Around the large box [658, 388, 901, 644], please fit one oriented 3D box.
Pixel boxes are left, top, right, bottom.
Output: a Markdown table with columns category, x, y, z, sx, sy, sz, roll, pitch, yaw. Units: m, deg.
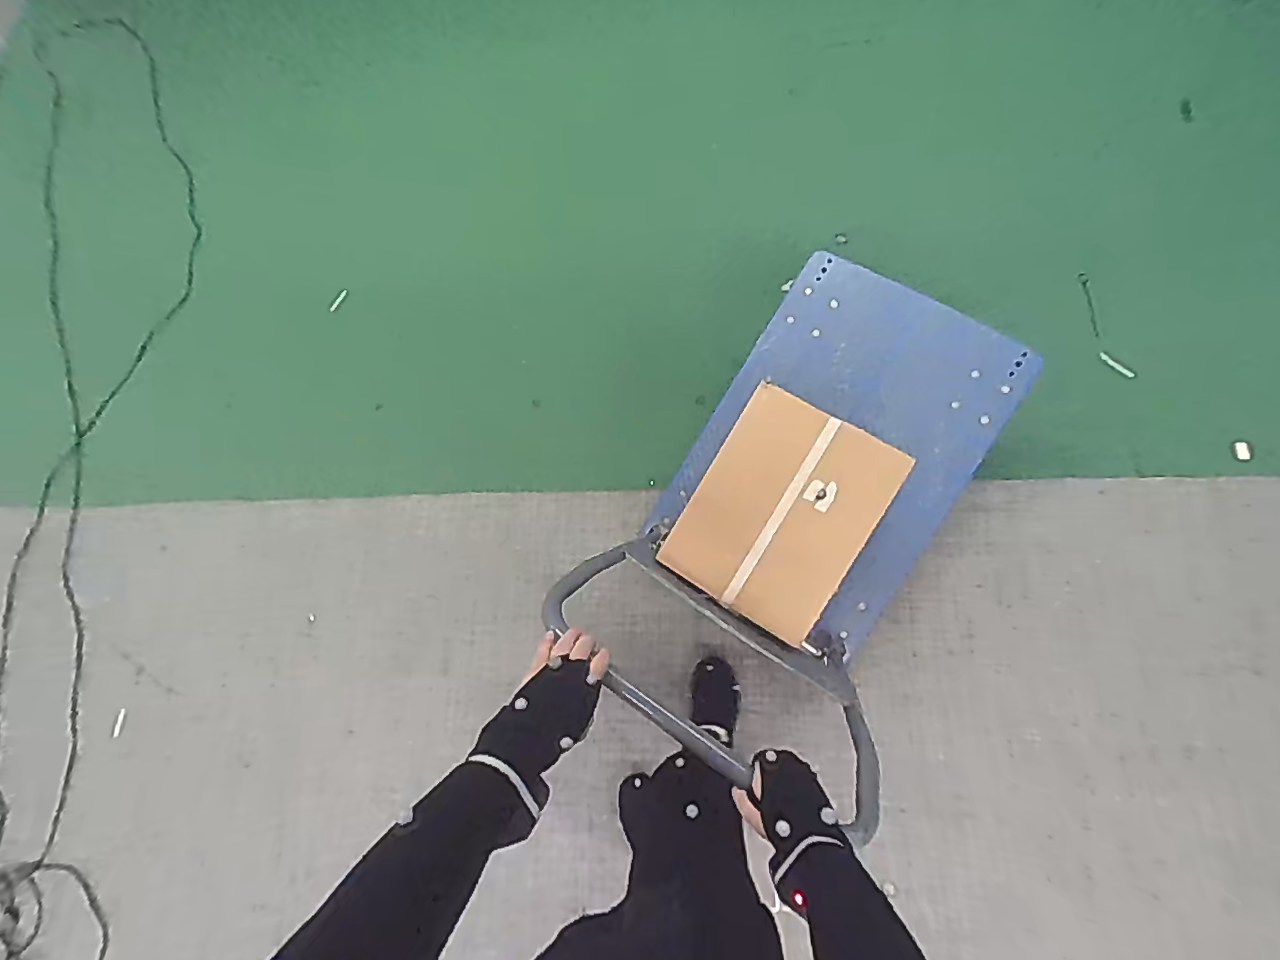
| category | x | y | z | sx | sy | sz | roll | pitch | yaw |
| --- | --- | --- | --- | --- | --- | --- | --- | --- | --- |
| large box | 0.290 | 0.079 | 1.176 | 0.320 | 0.320 | 0.408 | 31 | 92 | 13 |
